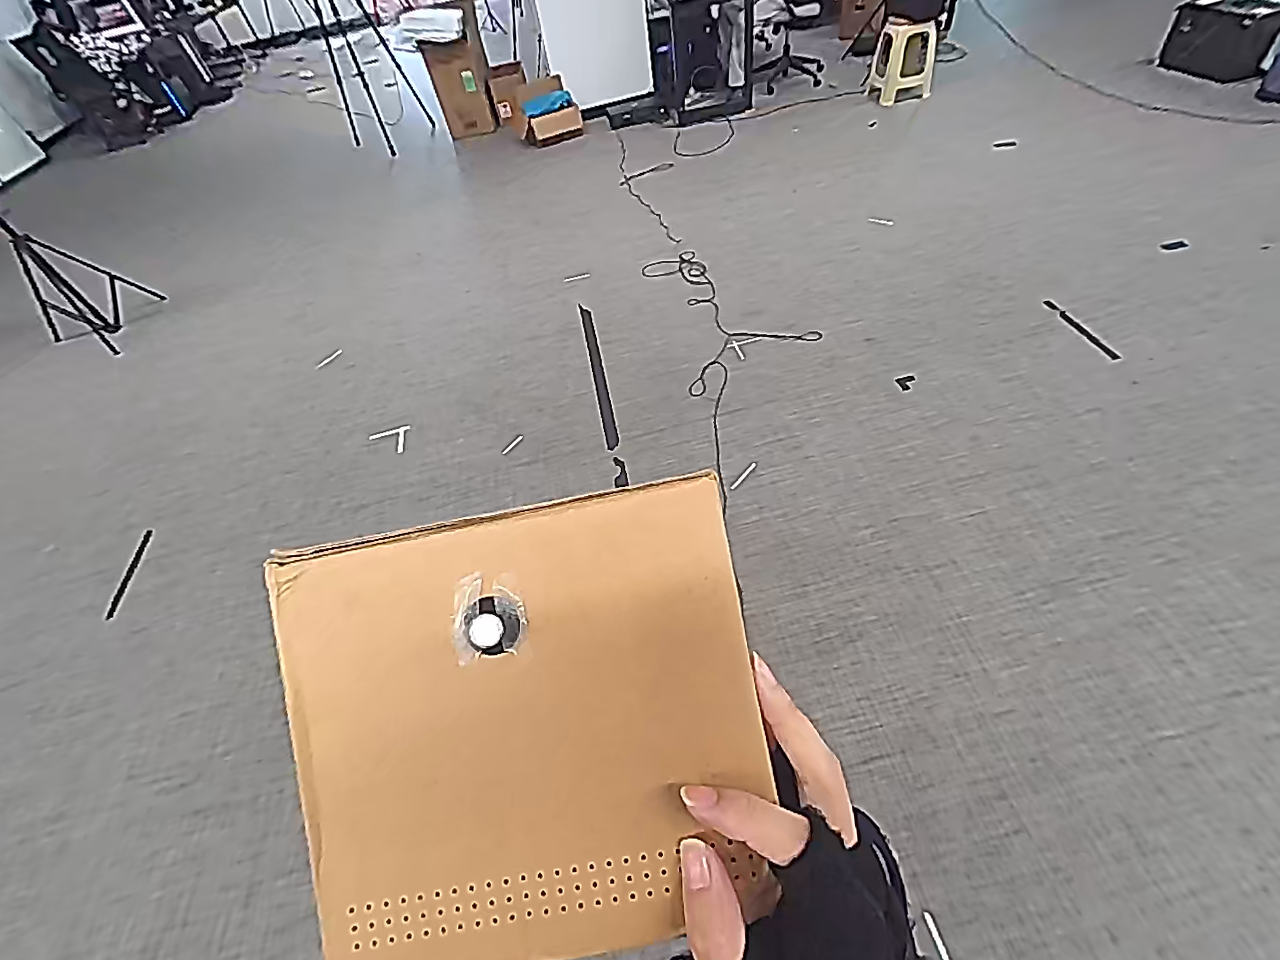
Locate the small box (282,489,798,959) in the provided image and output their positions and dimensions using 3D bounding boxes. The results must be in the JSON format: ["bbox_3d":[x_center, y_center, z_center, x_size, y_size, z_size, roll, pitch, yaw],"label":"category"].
[{"bbox_3d":[-0.037,0.105,0.280,0.179,0.168,0.176,-11,88,1],"label":"small box"}]
